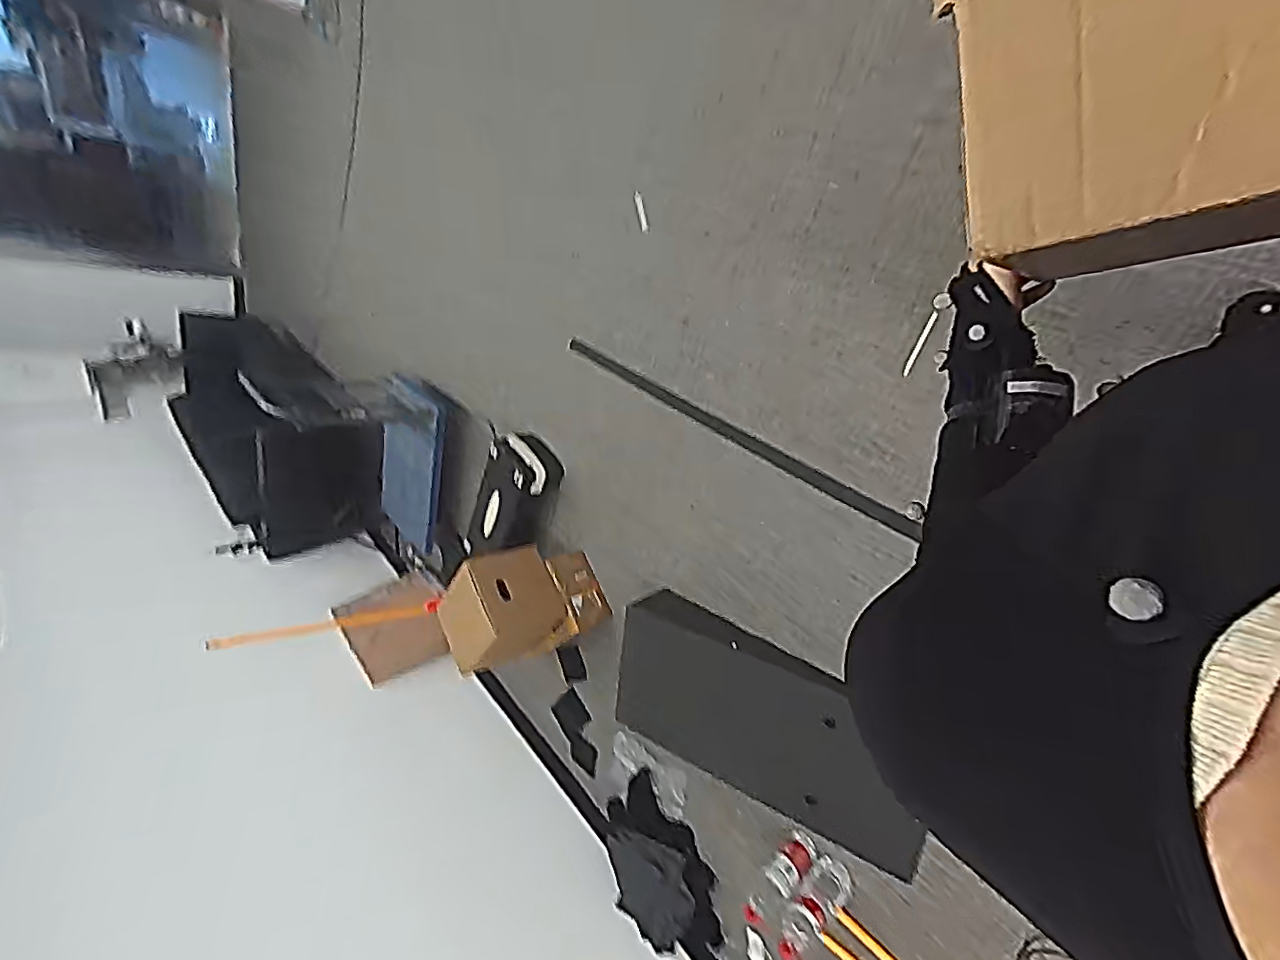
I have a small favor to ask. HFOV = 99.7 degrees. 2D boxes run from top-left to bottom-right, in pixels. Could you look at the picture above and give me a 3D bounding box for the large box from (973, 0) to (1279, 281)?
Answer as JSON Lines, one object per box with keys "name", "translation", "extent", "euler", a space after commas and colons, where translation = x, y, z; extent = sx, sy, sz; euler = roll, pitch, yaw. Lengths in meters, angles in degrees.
{"name": "large box", "translation": [0.409, -0.305, 0.252], "extent": [0.408, 0.320, 0.320], "euler": [0, 104, 41]}
